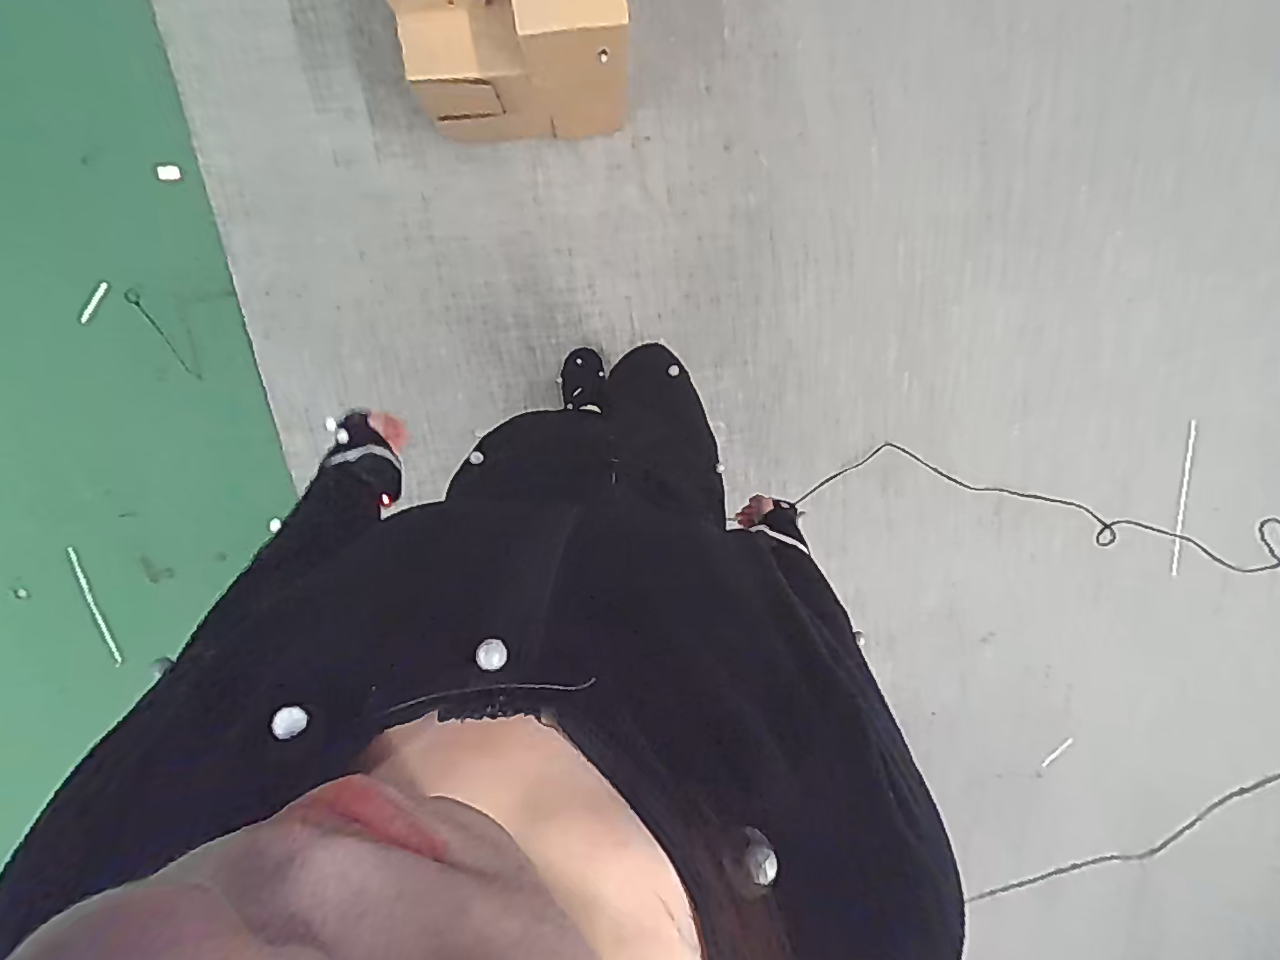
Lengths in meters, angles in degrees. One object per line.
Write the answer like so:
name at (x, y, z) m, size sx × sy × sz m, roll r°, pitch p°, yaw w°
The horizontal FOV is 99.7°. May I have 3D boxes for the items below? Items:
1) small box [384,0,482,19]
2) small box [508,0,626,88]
small box at (-0.358, -0.876, 0.847) m, size 0.168 × 0.176 × 0.179 m, roll -6°, pitch 103°, yaw -1°
small box at (-0.121, -0.777, 0.884) m, size 0.179 × 0.176 × 0.168 m, roll -8°, pitch 104°, yaw -1°
